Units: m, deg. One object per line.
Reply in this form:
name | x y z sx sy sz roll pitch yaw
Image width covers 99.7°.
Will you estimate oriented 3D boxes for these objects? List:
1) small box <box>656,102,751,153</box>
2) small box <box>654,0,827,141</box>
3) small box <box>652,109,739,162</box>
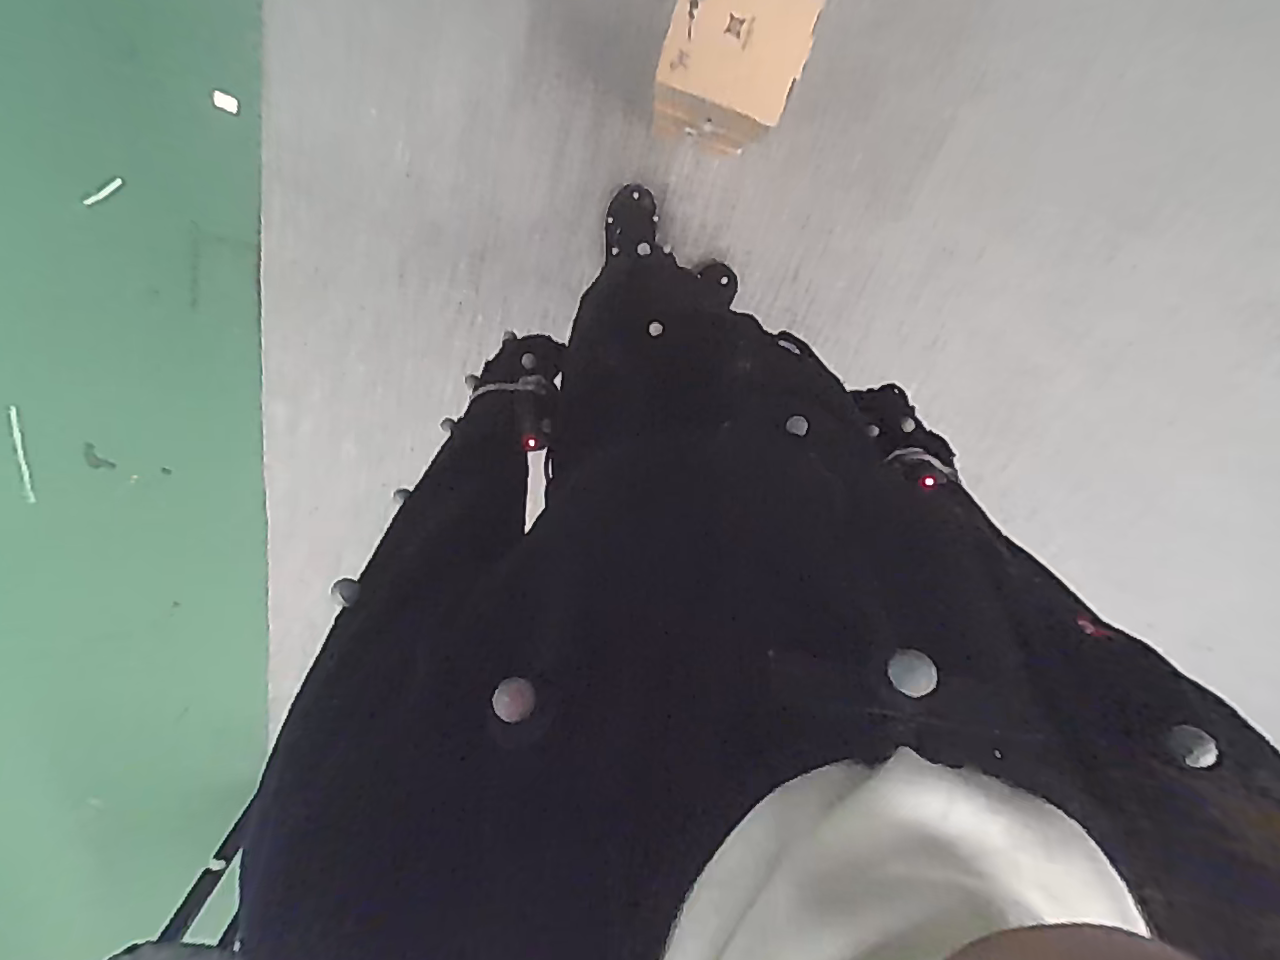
small box | 0.128 -0.672 0.903 0.168 0.176 0.179 16 117 -4
small box | 0.129 -0.597 0.757 0.179 0.176 0.168 18 115 -6
small box | 0.131 -0.745 1.066 0.179 0.176 0.168 16 116 -6
